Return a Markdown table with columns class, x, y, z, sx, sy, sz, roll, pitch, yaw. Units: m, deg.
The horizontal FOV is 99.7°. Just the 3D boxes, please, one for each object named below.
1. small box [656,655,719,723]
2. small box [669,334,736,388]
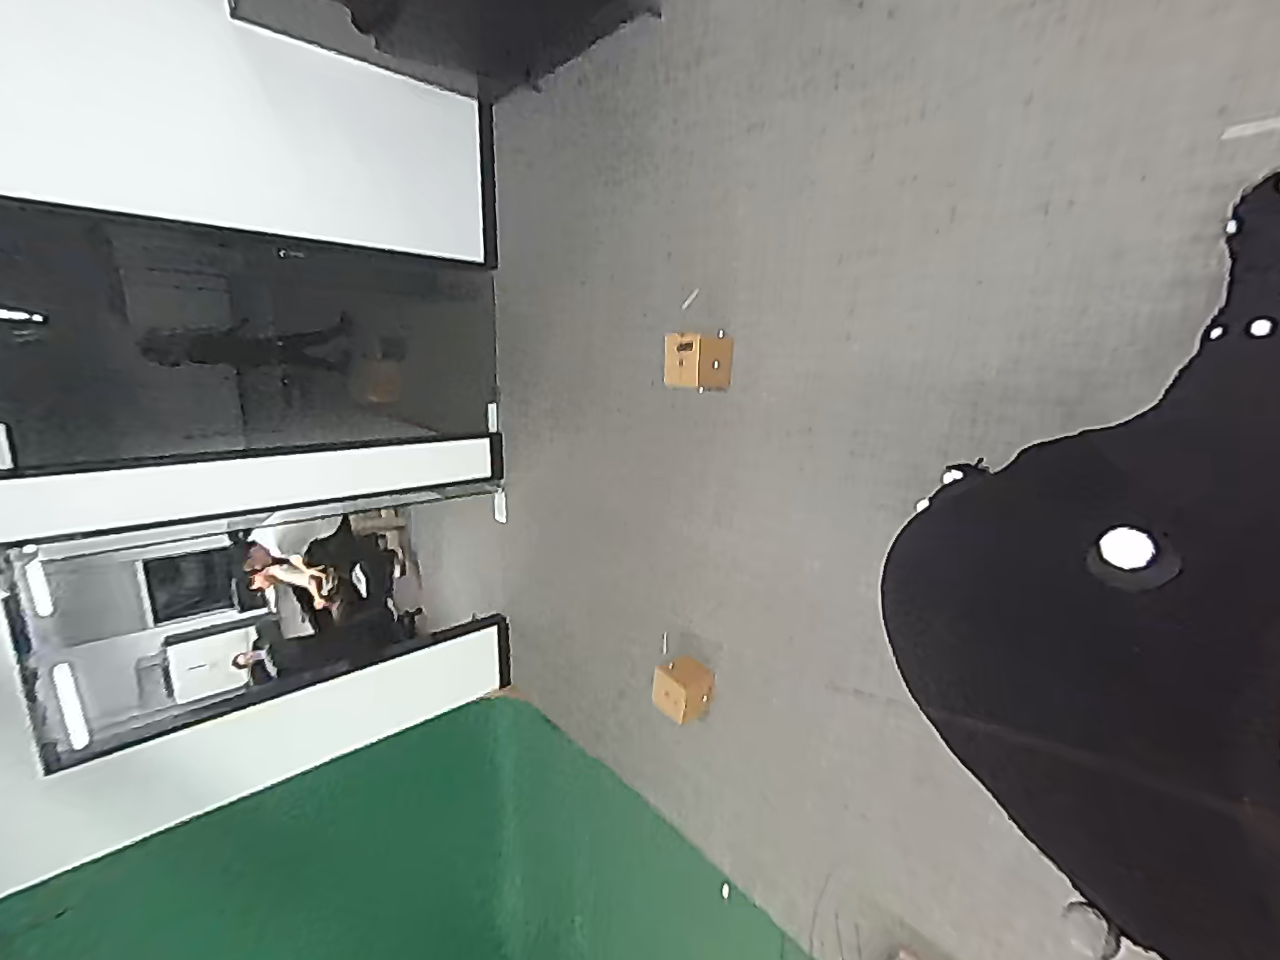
| class | x | y | z | sx | sy | sz | roll | pitch | yaw |
| --- | --- | --- | --- | --- | --- | --- | --- | --- | --- |
| small box | 0.189 | 0.825 | 2.161 | 0.179 | 0.176 | 0.168 | 23 | 115 | 45 |
| small box | 0.220 | -0.416 | 1.889 | 0.168 | 0.176 | 0.179 | 17 | 111 | 46 |
